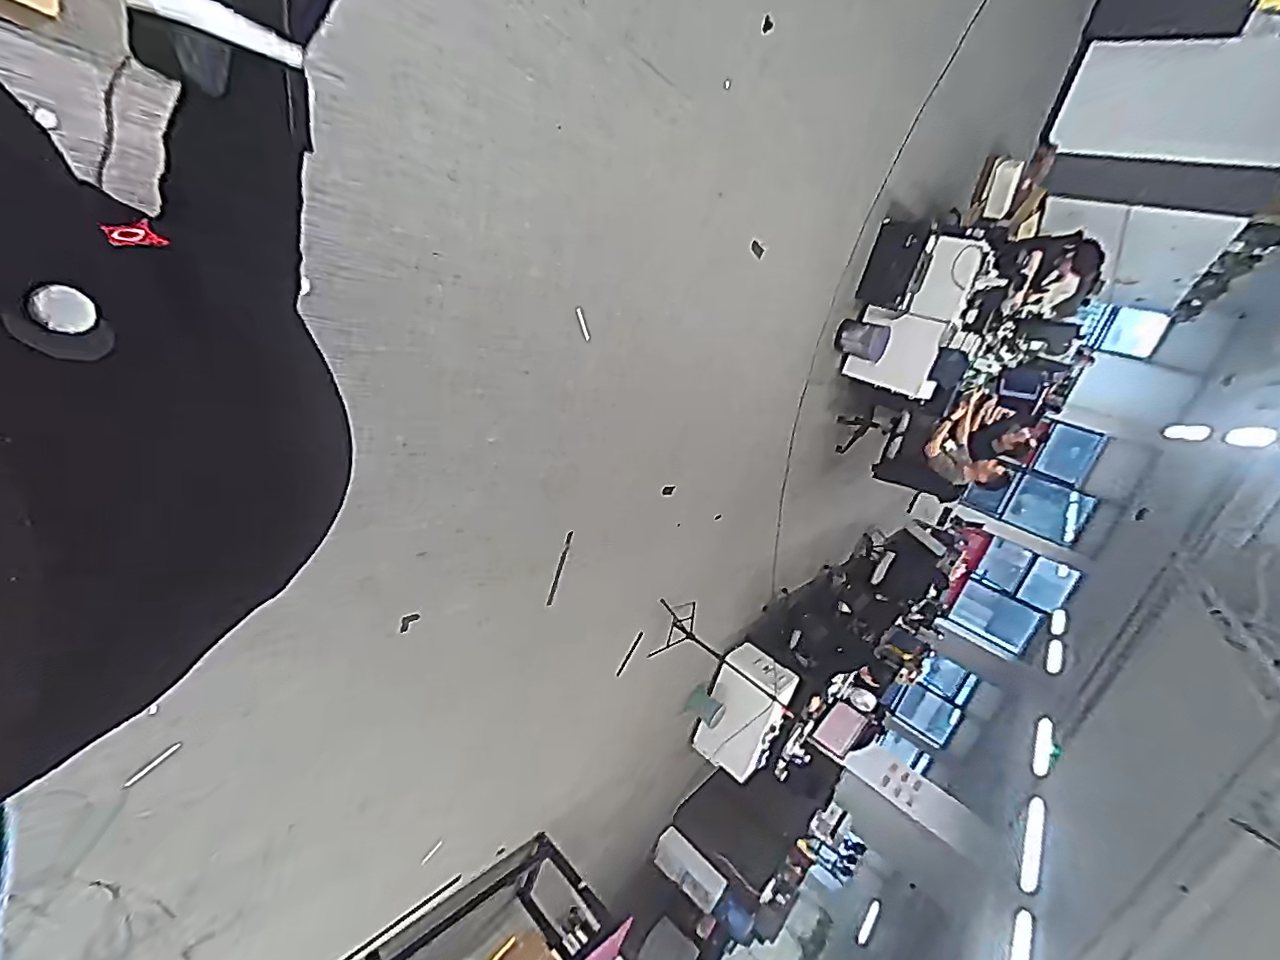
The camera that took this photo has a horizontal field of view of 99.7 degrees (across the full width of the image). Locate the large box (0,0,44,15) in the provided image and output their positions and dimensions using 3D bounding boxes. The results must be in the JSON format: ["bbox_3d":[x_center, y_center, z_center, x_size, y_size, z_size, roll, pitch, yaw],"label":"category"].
[{"bbox_3d":[-0.961,-0.804,0.588,0.408,0.320,0.320,-3,116,-52],"label":"large box"}]
